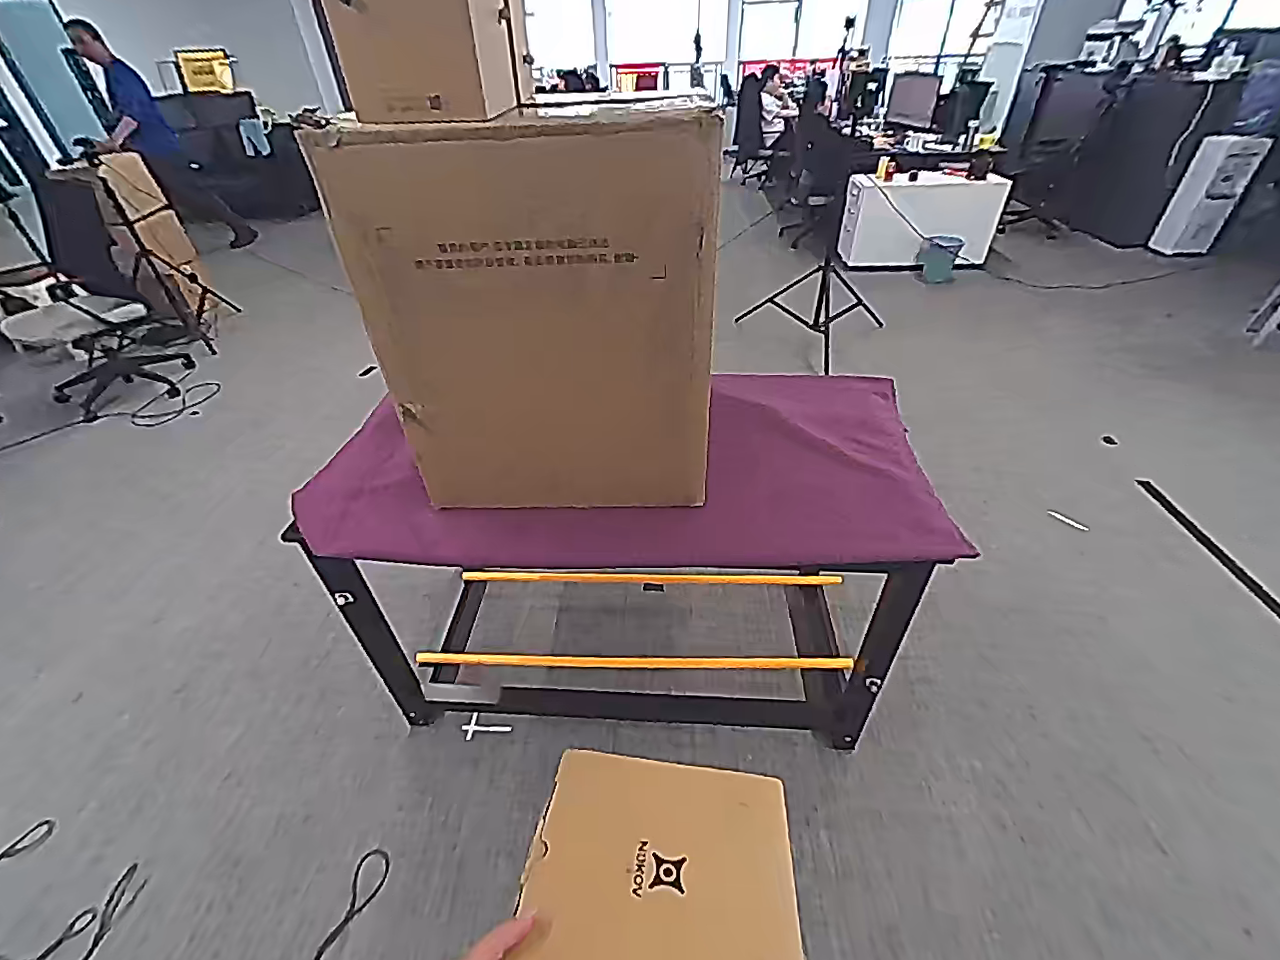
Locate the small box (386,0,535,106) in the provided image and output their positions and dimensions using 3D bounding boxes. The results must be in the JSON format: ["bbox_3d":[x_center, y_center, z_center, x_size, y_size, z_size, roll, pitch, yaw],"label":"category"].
[{"bbox_3d":[-0.266,-0.672,0.817,0.179,0.176,0.168,-1,39,-1],"label":"small box"}]

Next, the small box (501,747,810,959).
[{"bbox_3d":[0.012,0.327,0.381,0.179,0.176,0.168,5,22,6],"label":"small box"}]
